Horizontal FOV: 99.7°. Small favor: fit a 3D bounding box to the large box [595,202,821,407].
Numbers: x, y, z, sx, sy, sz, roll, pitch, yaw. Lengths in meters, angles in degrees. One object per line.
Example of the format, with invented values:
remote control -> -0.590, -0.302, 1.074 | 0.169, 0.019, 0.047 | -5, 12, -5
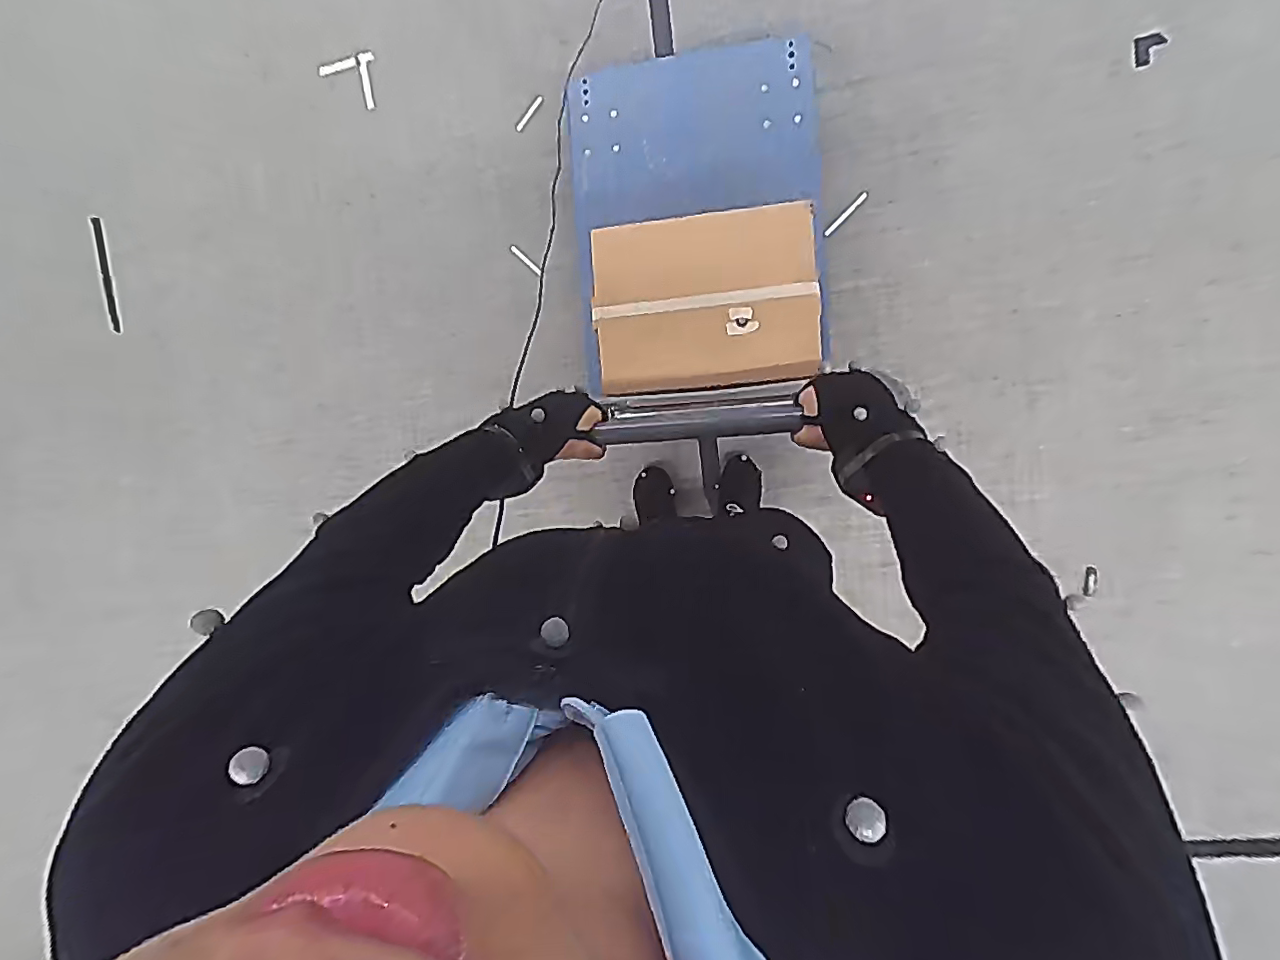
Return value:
large box -> 0.141, -0.339, 1.153 | 0.408, 0.320, 0.320 | -4, 93, 8
